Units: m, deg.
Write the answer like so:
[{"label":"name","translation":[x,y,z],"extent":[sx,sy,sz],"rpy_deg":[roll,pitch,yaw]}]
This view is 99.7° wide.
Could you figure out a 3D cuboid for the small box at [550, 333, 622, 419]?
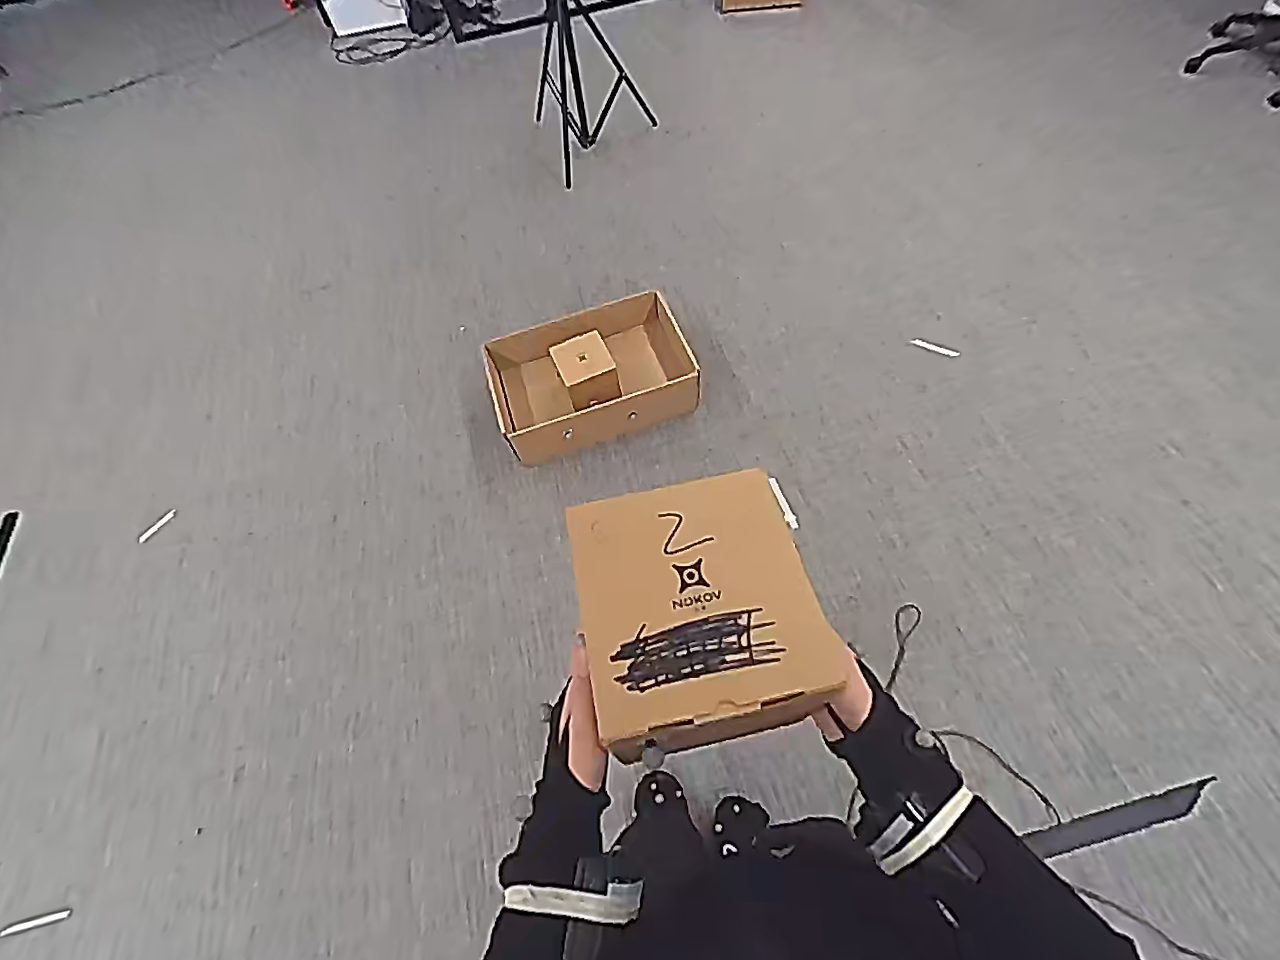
[{"label":"small box","translation":[-0.170,-0.328,1.726],"extent":[0.168,0.176,0.179],"rpy_deg":[-24,62,-7]}]
